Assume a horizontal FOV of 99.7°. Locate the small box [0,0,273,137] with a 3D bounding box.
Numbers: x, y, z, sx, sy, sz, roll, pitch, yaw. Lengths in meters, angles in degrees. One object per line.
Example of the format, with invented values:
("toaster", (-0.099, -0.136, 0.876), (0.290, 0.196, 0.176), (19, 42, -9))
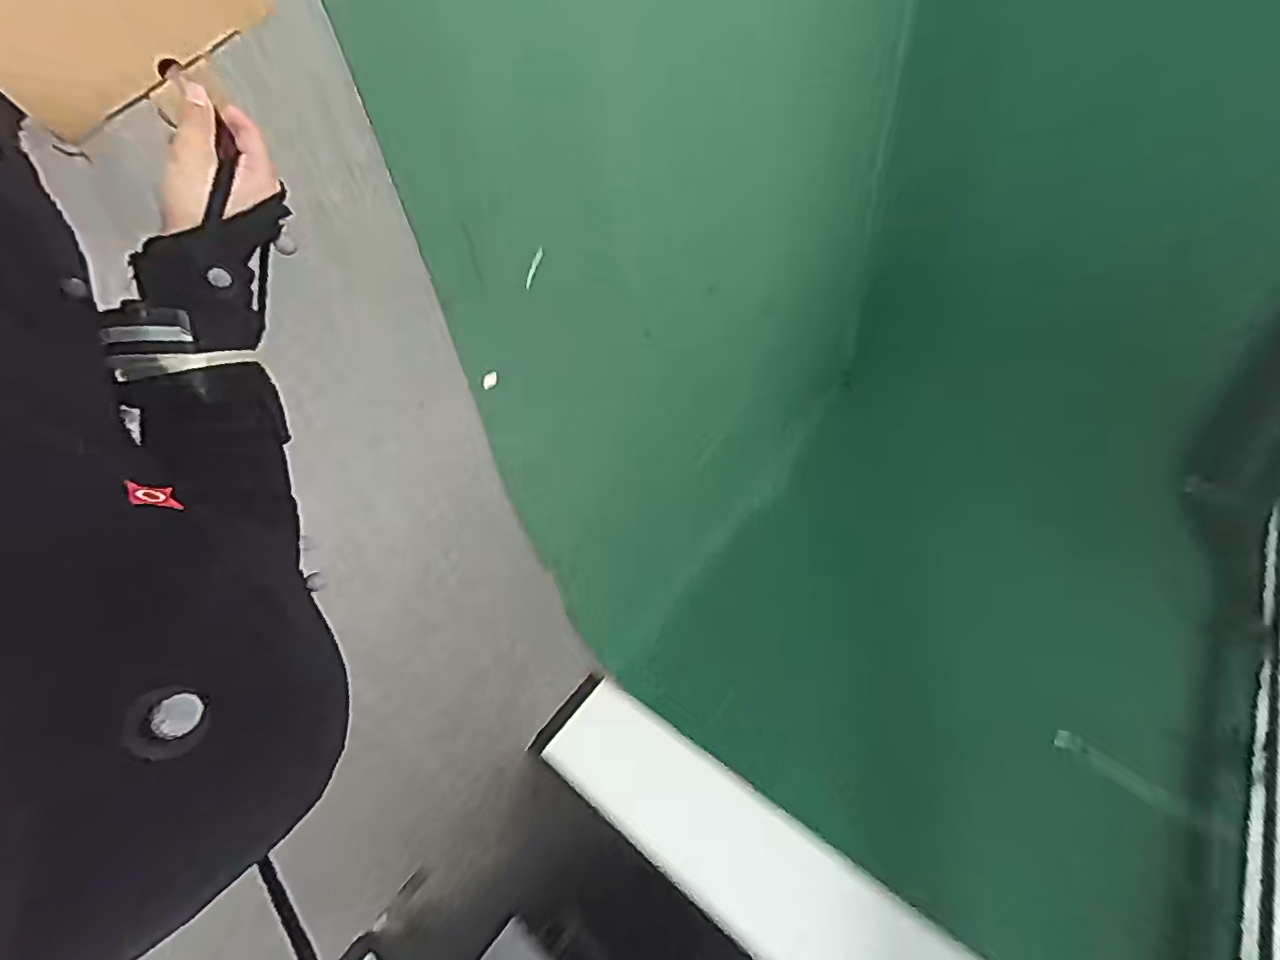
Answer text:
("small box", (-0.372, -0.357, 0.317), (0.168, 0.176, 0.179), (-40, 152, -3))
